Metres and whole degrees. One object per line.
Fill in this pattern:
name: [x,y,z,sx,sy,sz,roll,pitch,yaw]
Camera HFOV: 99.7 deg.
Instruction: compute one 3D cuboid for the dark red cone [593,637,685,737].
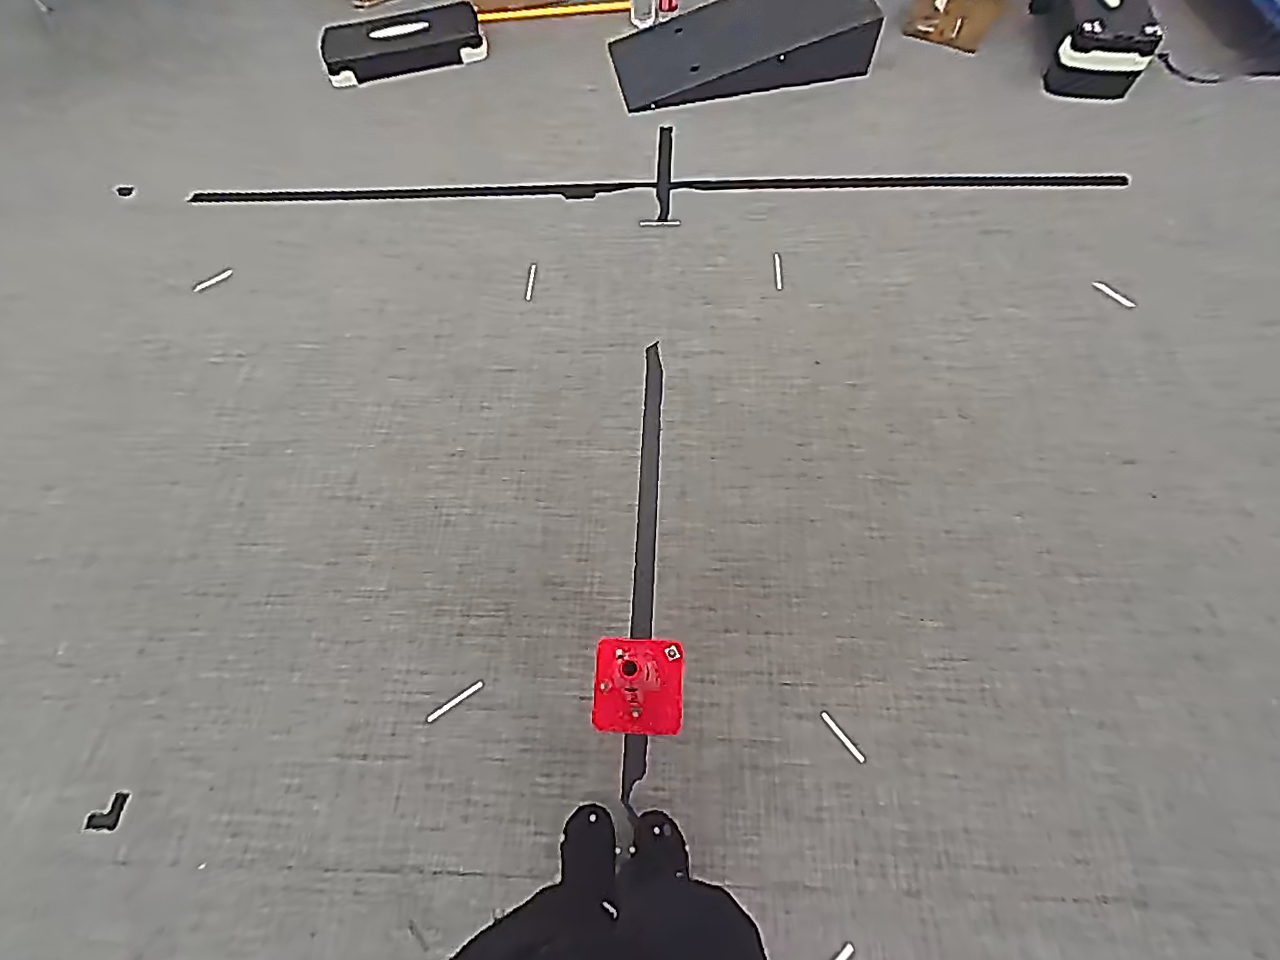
dark red cone: [-0.011,0.384,1.041,0.201,0.394,0.202,0,65,4]
